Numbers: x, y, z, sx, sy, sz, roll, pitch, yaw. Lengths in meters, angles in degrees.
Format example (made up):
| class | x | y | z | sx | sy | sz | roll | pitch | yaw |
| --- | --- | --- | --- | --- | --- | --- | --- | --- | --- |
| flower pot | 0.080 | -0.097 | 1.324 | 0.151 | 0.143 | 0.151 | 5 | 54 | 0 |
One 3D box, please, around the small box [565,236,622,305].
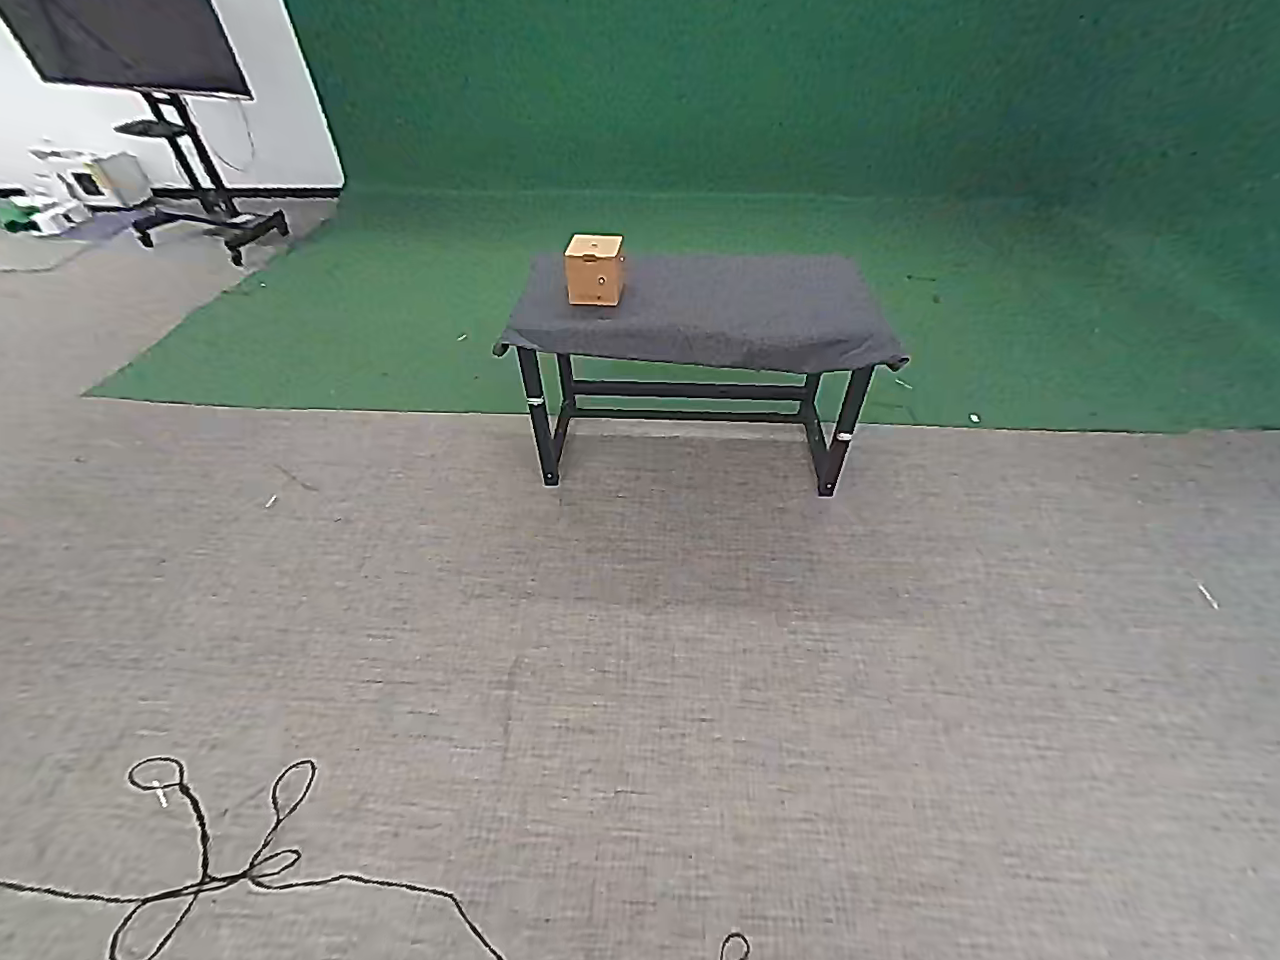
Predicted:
| class | x | y | z | sx | sy | sz | roll | pitch | yaw |
| --- | --- | --- | --- | --- | --- | --- | --- | --- | --- |
| small box | -0.152 | -0.707 | 1.833 | 0.168 | 0.176 | 0.179 | 5 | 44 | 3 |
